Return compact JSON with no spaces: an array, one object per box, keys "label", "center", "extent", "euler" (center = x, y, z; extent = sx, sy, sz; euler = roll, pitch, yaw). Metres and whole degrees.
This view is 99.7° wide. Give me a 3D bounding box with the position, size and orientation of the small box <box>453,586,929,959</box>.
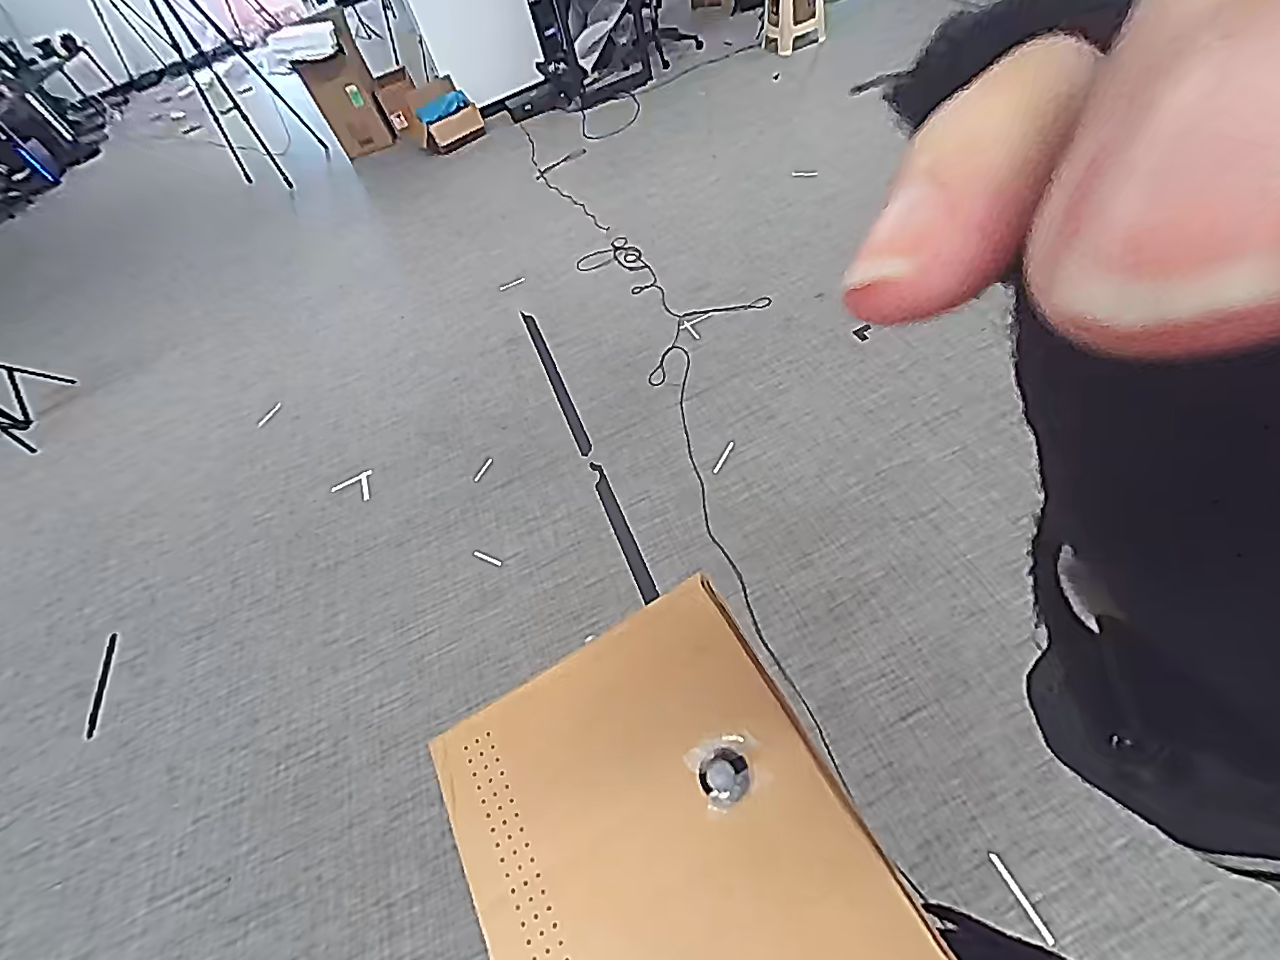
[{"label":"small box","center":[0.020,0.195,0.314],"extent":[0.176,0.168,0.179],"euler":[-32,61,0]}]
